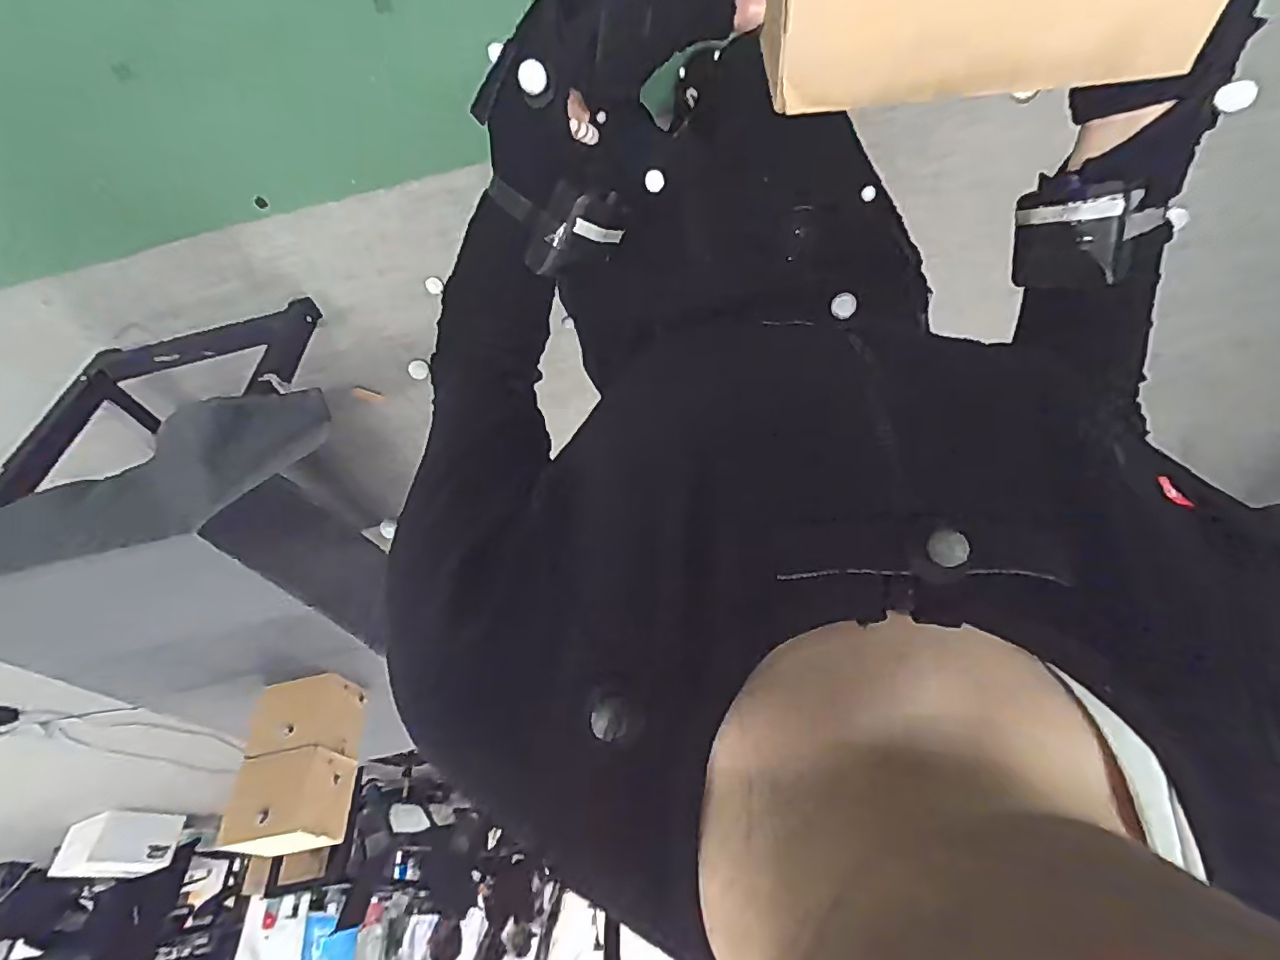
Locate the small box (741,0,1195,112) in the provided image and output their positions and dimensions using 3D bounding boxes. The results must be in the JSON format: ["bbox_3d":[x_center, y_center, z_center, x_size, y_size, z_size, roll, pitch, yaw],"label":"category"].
[{"bbox_3d":[0.141,-0.292,0.237,0.179,0.176,0.168,-1,141,7],"label":"small box"}]

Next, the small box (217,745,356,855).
[{"bbox_3d":[-0.766,0.705,1.194,0.179,0.176,0.168,-13,139,3],"label":"small box"}]

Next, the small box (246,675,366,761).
[{"bbox_3d":[-0.788,0.584,1.301,0.179,0.176,0.168,-12,139,4],"label":"small box"}]
